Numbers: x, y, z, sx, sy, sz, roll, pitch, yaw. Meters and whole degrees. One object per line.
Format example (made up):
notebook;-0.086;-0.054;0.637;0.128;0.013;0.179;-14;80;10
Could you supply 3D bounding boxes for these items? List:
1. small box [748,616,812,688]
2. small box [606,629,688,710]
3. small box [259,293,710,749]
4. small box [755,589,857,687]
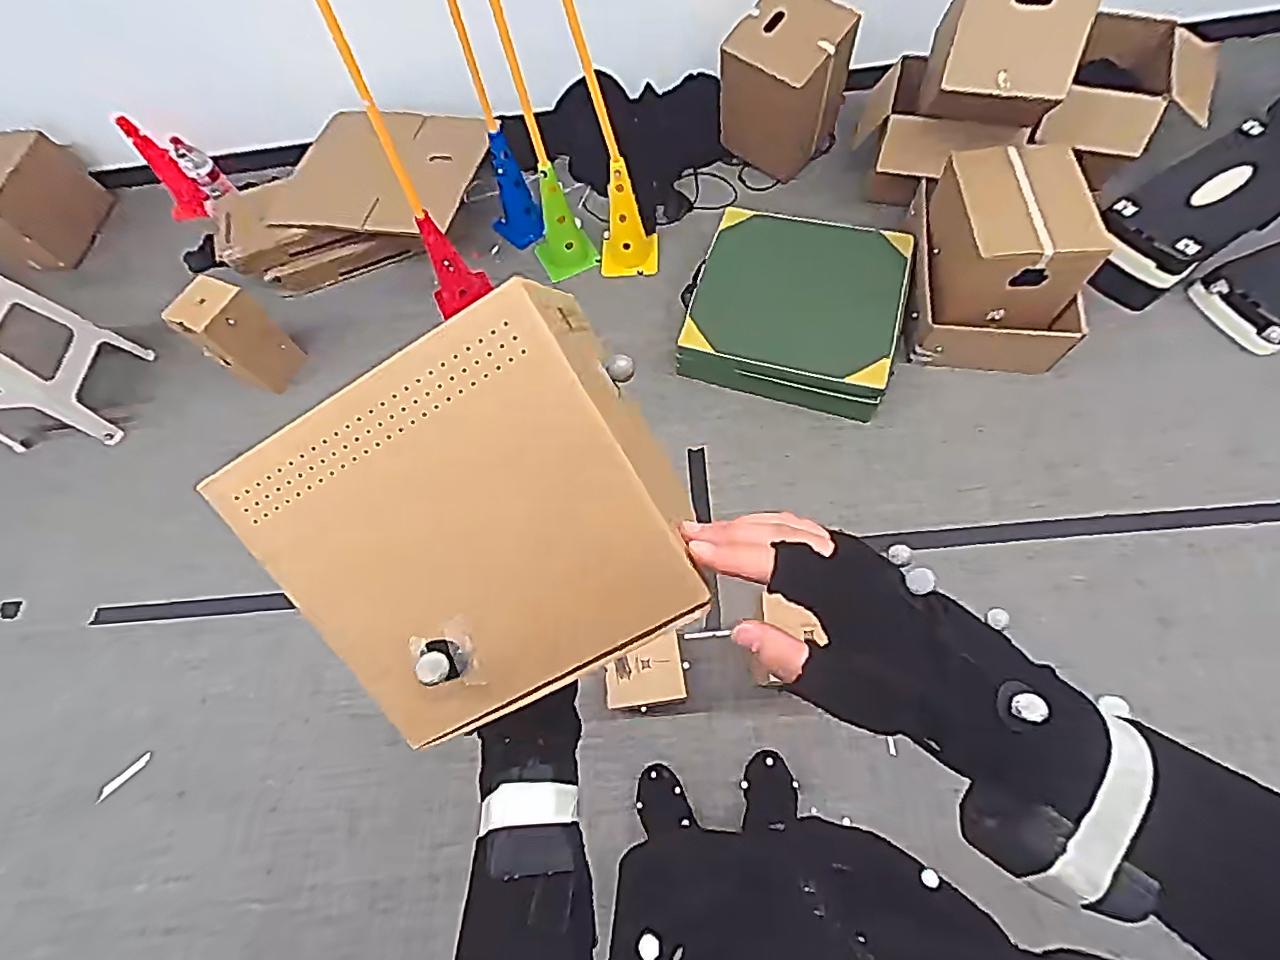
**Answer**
small box;0.359;0.396;1.277;0.179;0.176;0.168;-1;65;4
small box;0.016;0.448;1.286;0.179;0.176;0.168;-9;65;1
small box;-0.079;0.012;0.327;0.179;0.168;0.176;-30;103;10
small box;0.336;0.333;1.129;0.168;0.176;0.179;-2;66;6
